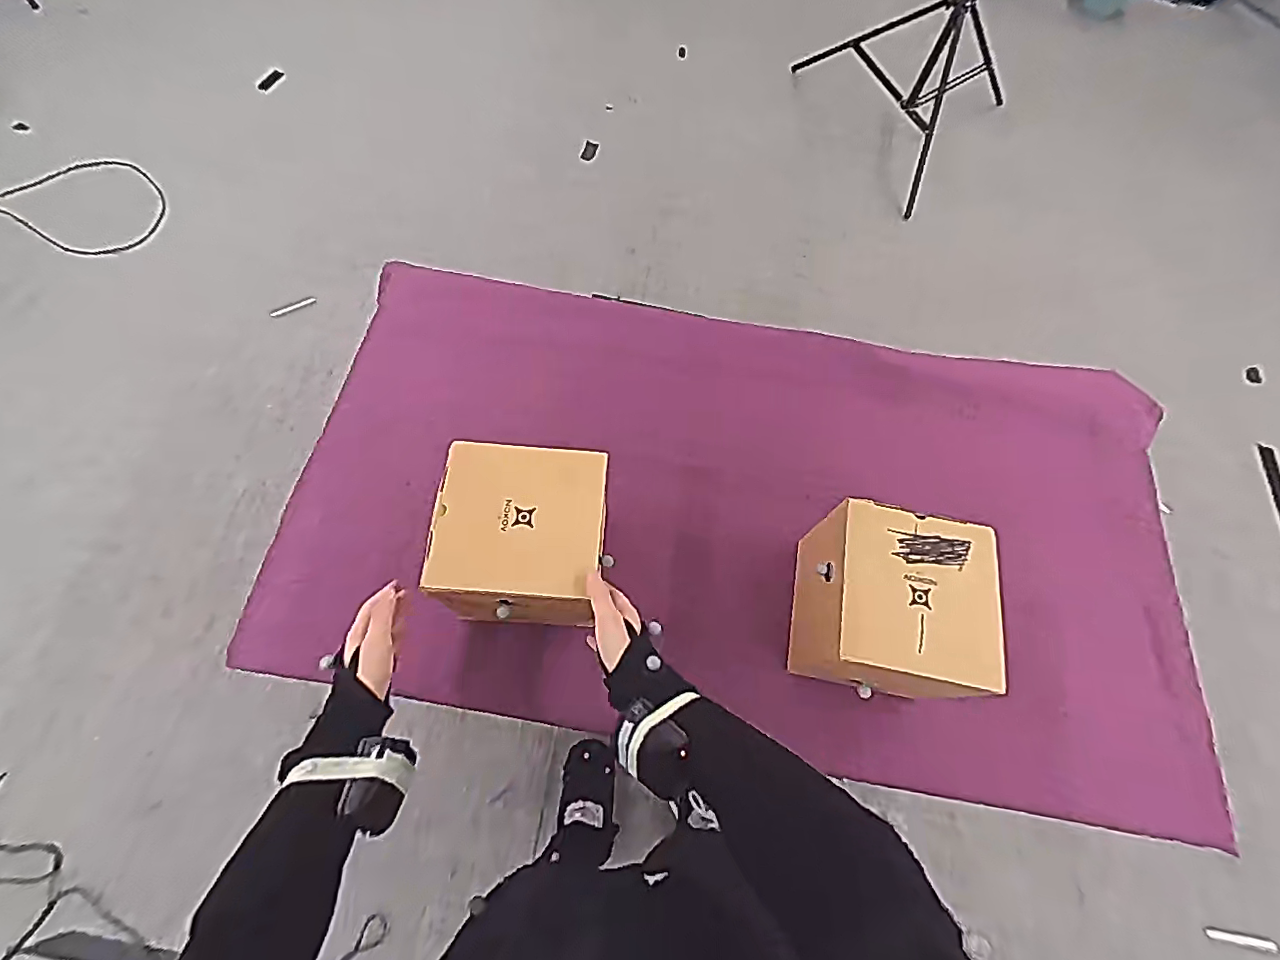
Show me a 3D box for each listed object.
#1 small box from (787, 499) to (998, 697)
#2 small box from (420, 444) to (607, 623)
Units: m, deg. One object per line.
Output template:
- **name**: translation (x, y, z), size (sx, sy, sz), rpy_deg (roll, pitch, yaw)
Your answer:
- **small box**: translation (0.282, 0.146, 0.637), size (0.168, 0.176, 0.179), rpy_deg (12, 67, 2)
- **small box**: translation (-0.132, 0.072, 0.643), size (0.179, 0.176, 0.168), rpy_deg (4, 66, -1)
